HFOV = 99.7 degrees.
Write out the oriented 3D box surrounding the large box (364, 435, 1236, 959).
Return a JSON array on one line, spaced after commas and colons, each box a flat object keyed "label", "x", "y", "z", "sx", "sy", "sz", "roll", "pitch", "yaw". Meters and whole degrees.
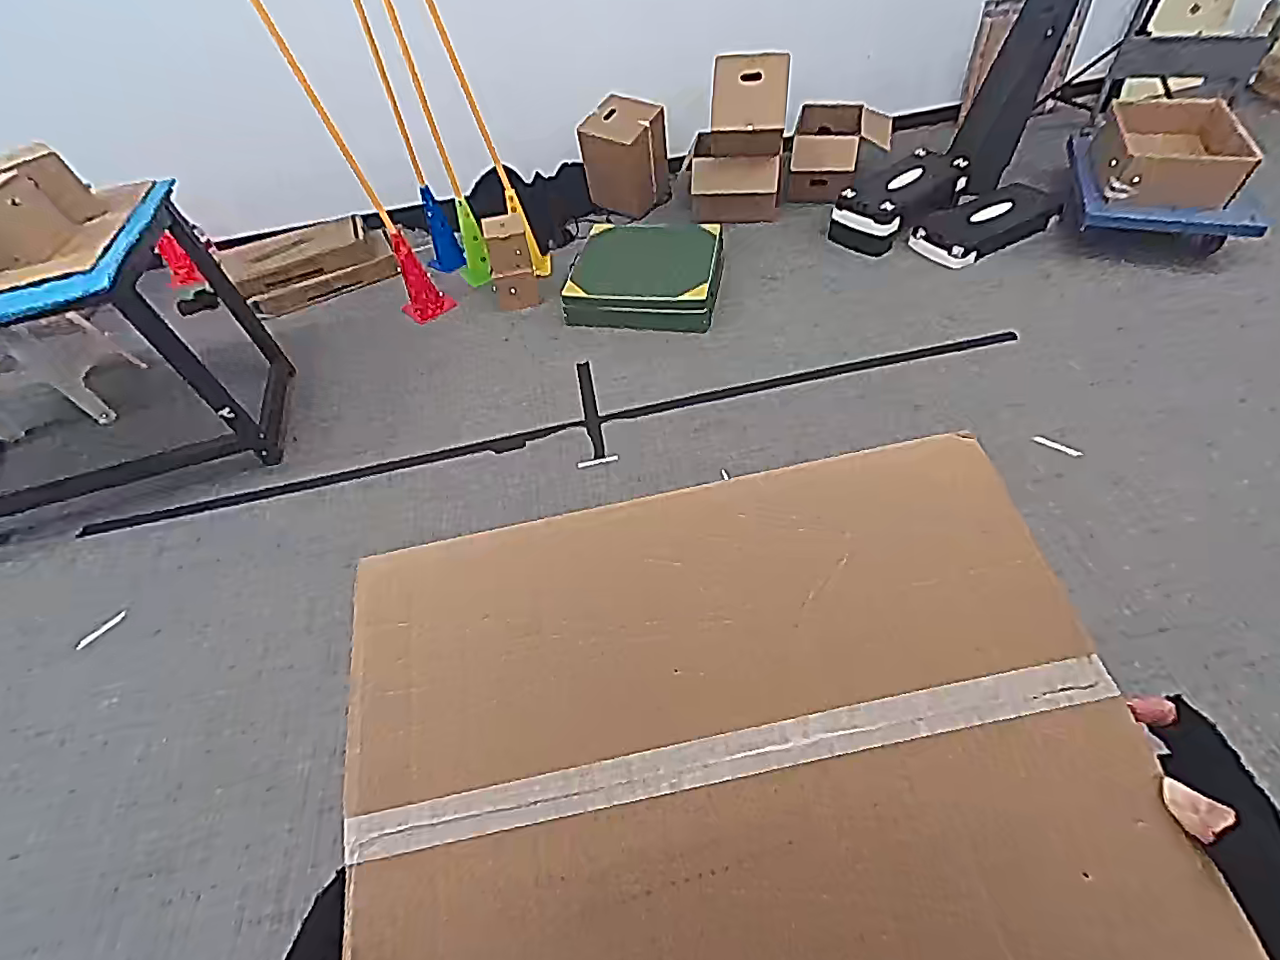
[{"label": "large box", "x": 0.058, "y": 0.211, "z": 0.429, "sx": 0.408, "sy": 0.320, "sz": 0.320, "roll": -12, "pitch": 64, "yaw": 0}]
